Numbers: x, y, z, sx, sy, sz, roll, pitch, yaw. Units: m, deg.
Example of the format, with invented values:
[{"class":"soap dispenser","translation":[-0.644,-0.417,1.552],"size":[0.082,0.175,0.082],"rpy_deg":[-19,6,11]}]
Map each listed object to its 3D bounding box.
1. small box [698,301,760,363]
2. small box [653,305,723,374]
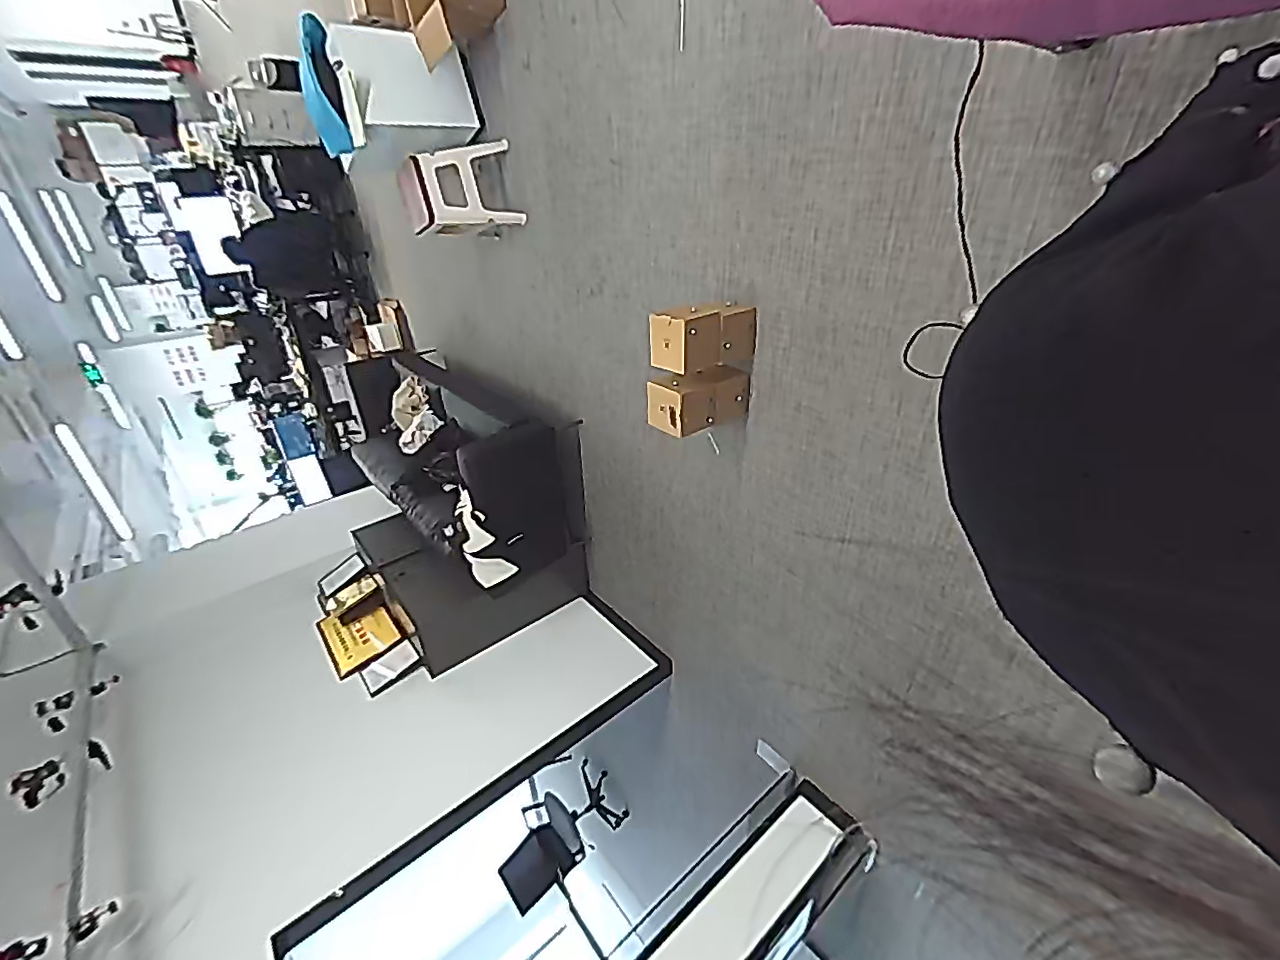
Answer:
[{"class":"small box","translation":[0.290,-0.519,1.875],"size":[0.179,0.176,0.168],"rpy_deg":[29,133,44]},{"class":"small box","translation":[0.161,-0.469,1.787],"size":[0.168,0.176,0.179],"rpy_deg":[27,130,44]}]
